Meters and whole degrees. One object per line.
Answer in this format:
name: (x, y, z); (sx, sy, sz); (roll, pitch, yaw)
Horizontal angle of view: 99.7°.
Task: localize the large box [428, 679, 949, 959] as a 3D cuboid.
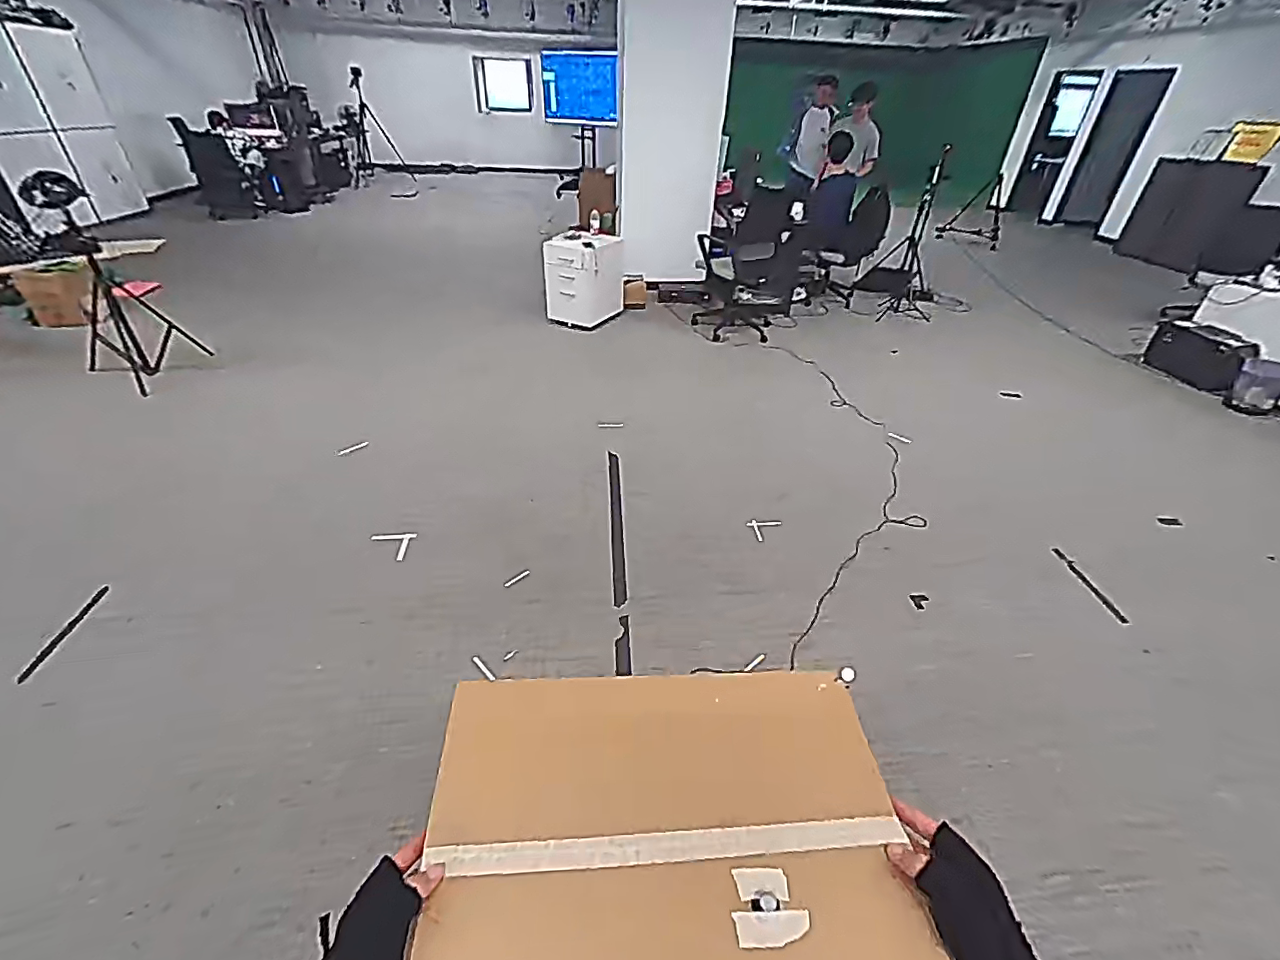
large box: (0.023, 0.432, 0.554); (0.408, 0.320, 0.320); (1, 40, -6)
